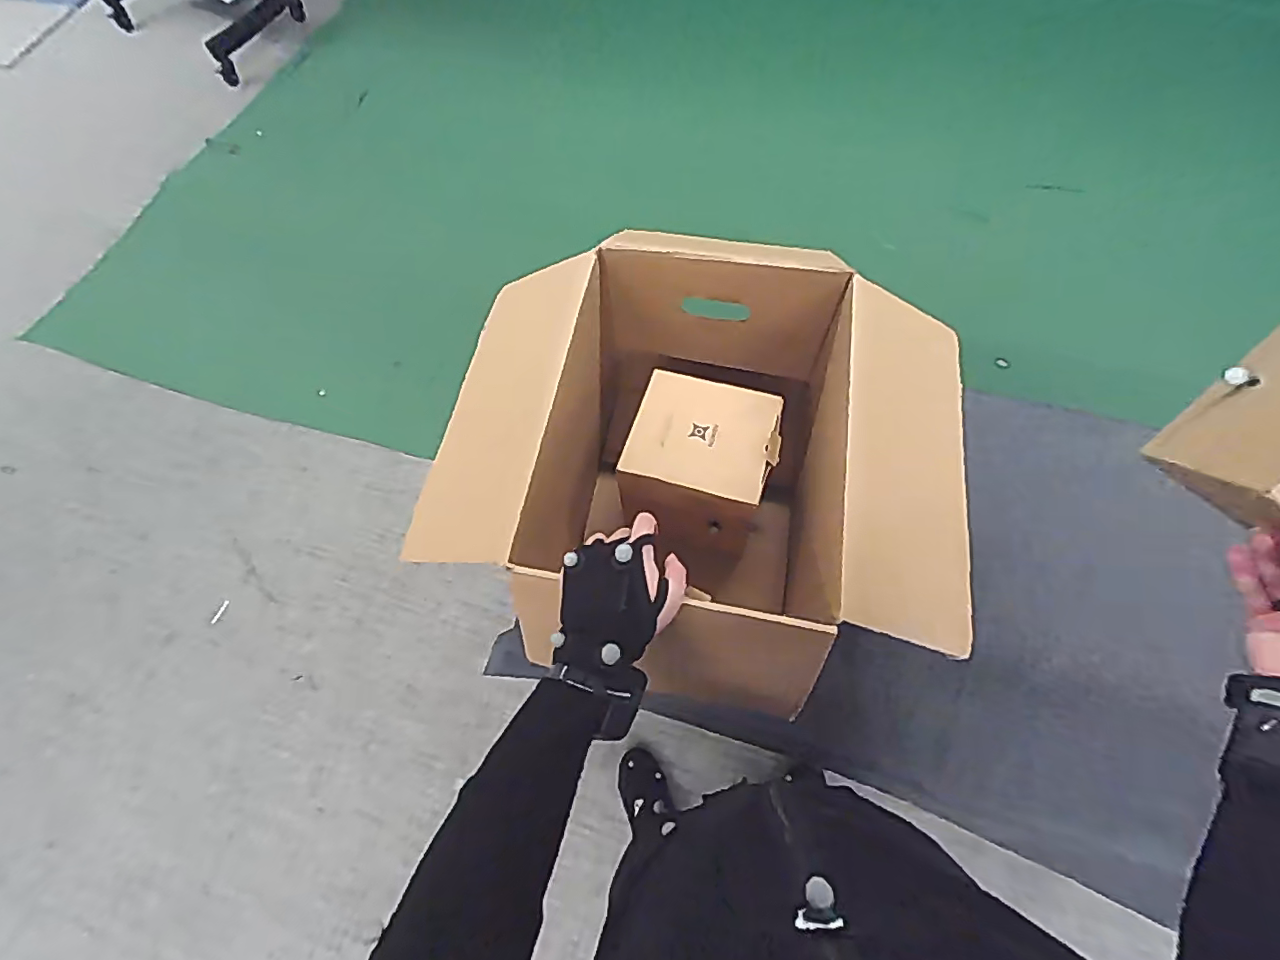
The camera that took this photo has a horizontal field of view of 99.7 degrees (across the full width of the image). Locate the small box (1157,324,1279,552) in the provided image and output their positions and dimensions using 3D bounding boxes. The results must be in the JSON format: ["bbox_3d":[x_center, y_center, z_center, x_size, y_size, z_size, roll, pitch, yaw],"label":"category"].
[{"bbox_3d":[0.565,-0.023,0.415,0.168,0.176,0.179,37,111,8],"label":"small box"}]
